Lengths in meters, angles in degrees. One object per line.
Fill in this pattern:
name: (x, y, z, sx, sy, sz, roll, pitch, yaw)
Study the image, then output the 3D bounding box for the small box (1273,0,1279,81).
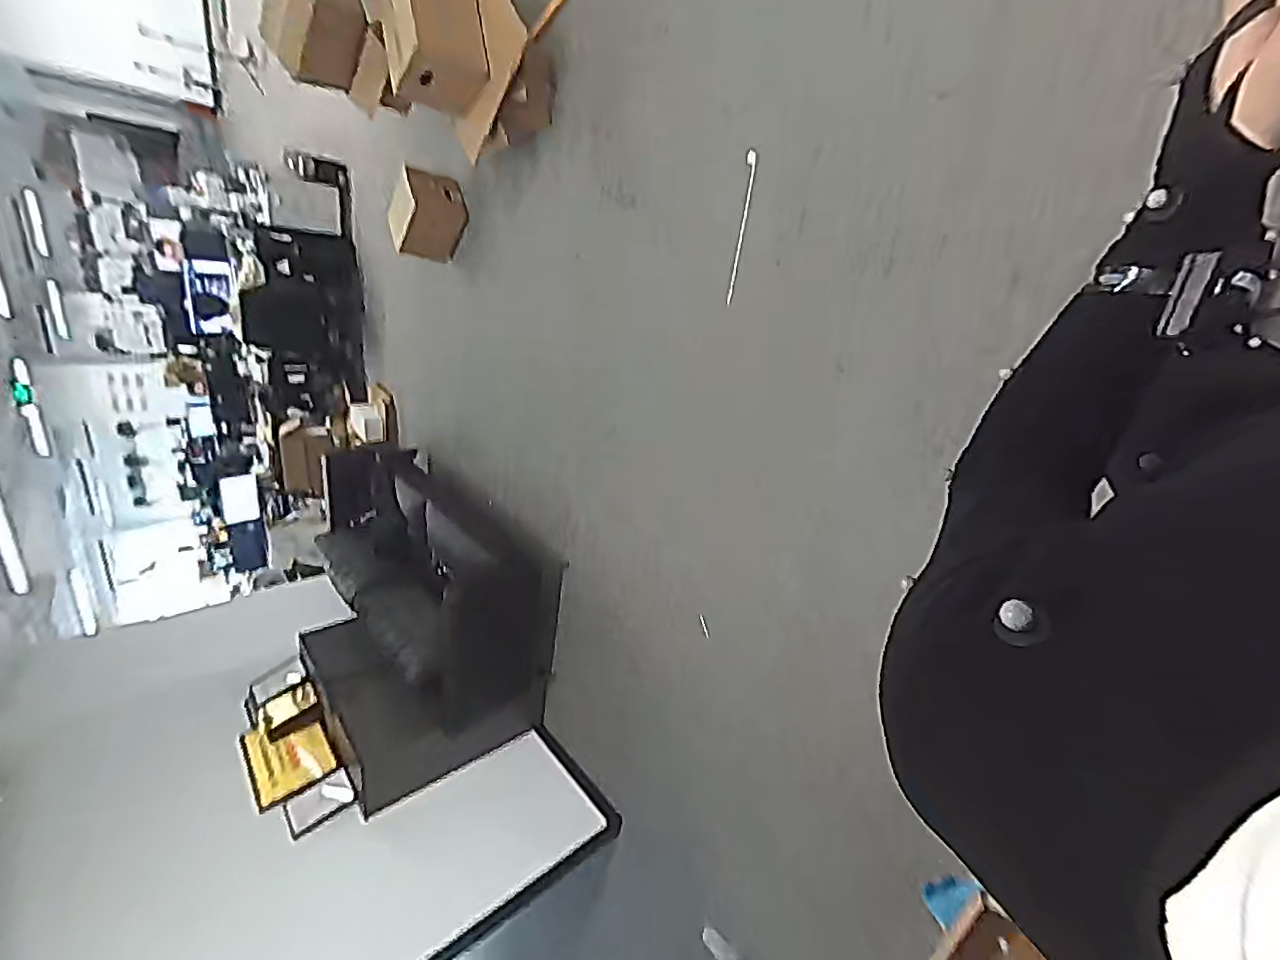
small box: (0.495, -0.369, 0.304, 0.179, 0.176, 0.168, 5, 98, 49)
